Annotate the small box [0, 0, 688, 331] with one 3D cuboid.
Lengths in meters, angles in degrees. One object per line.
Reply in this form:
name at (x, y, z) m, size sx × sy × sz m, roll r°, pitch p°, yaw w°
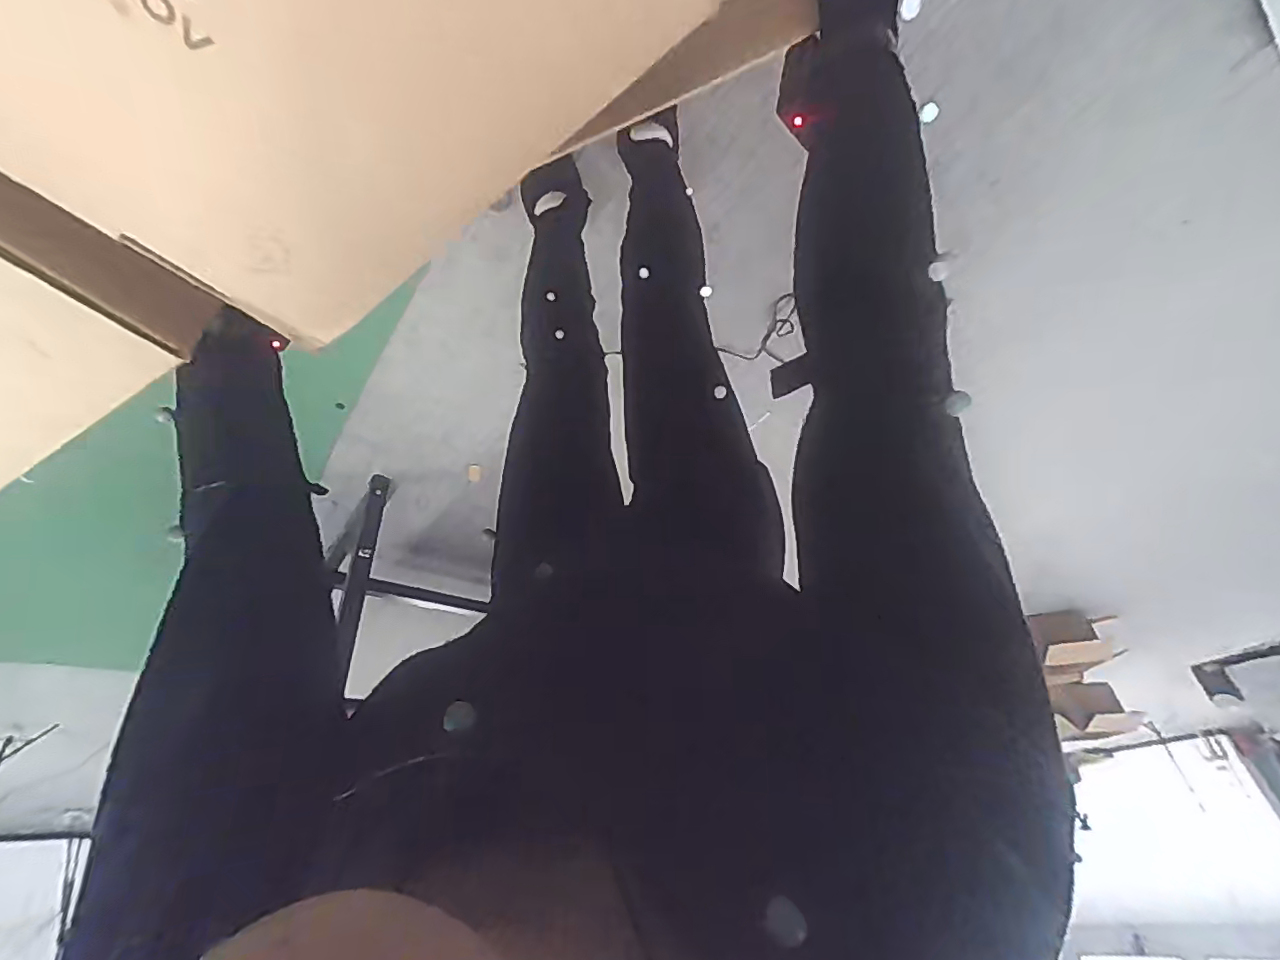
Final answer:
small box at (-0.103, -0.186, 0.155) m, size 0.179 × 0.176 × 0.168 m, roll -24°, pitch 140°, yaw 26°
